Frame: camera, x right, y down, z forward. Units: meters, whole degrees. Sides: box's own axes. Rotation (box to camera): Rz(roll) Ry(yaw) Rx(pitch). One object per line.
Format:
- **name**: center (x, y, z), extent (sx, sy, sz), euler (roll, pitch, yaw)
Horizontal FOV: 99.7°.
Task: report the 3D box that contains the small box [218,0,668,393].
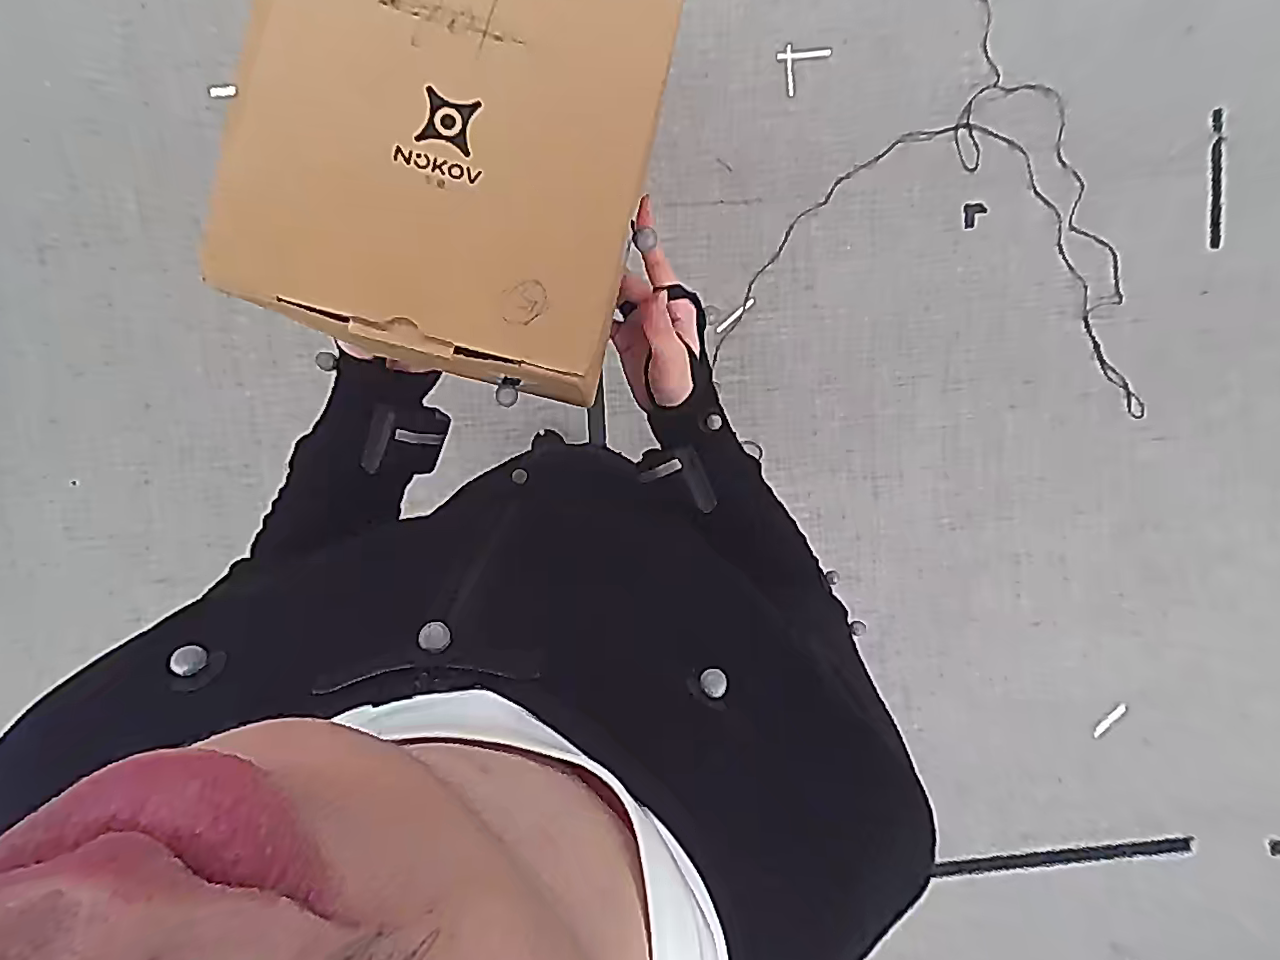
- **small box**: center (-0.092, -0.157, 0.318), extent (0.168, 0.176, 0.179), euler (14, 92, -7)
